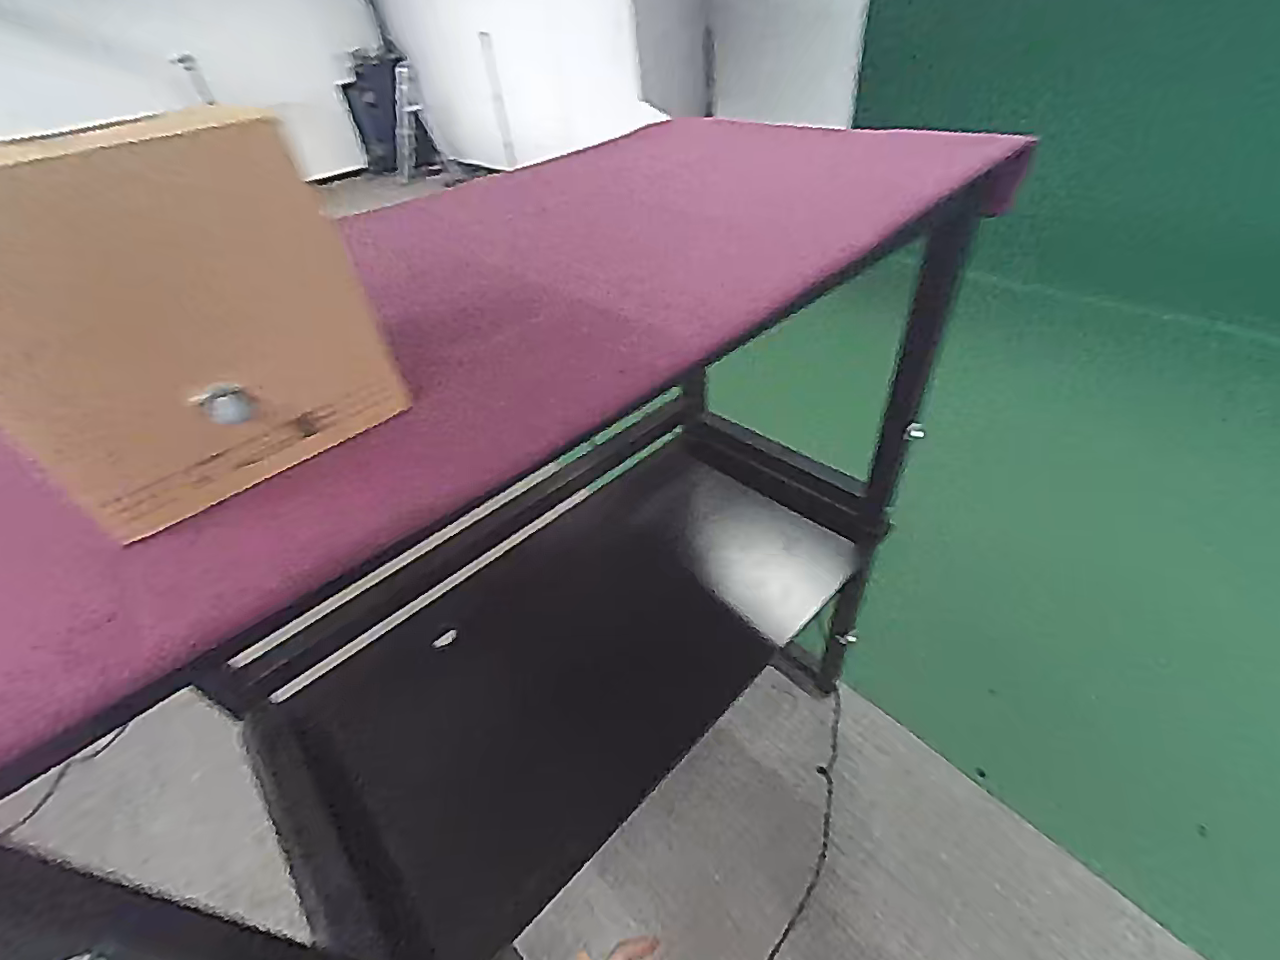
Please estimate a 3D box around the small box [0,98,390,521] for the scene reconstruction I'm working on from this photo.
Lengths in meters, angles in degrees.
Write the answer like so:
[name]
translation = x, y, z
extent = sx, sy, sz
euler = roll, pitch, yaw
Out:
[small box]
translation = -0.282, -0.106, 0.313
extent = 0.168, 0.176, 0.179
euler = -36, 49, -29
